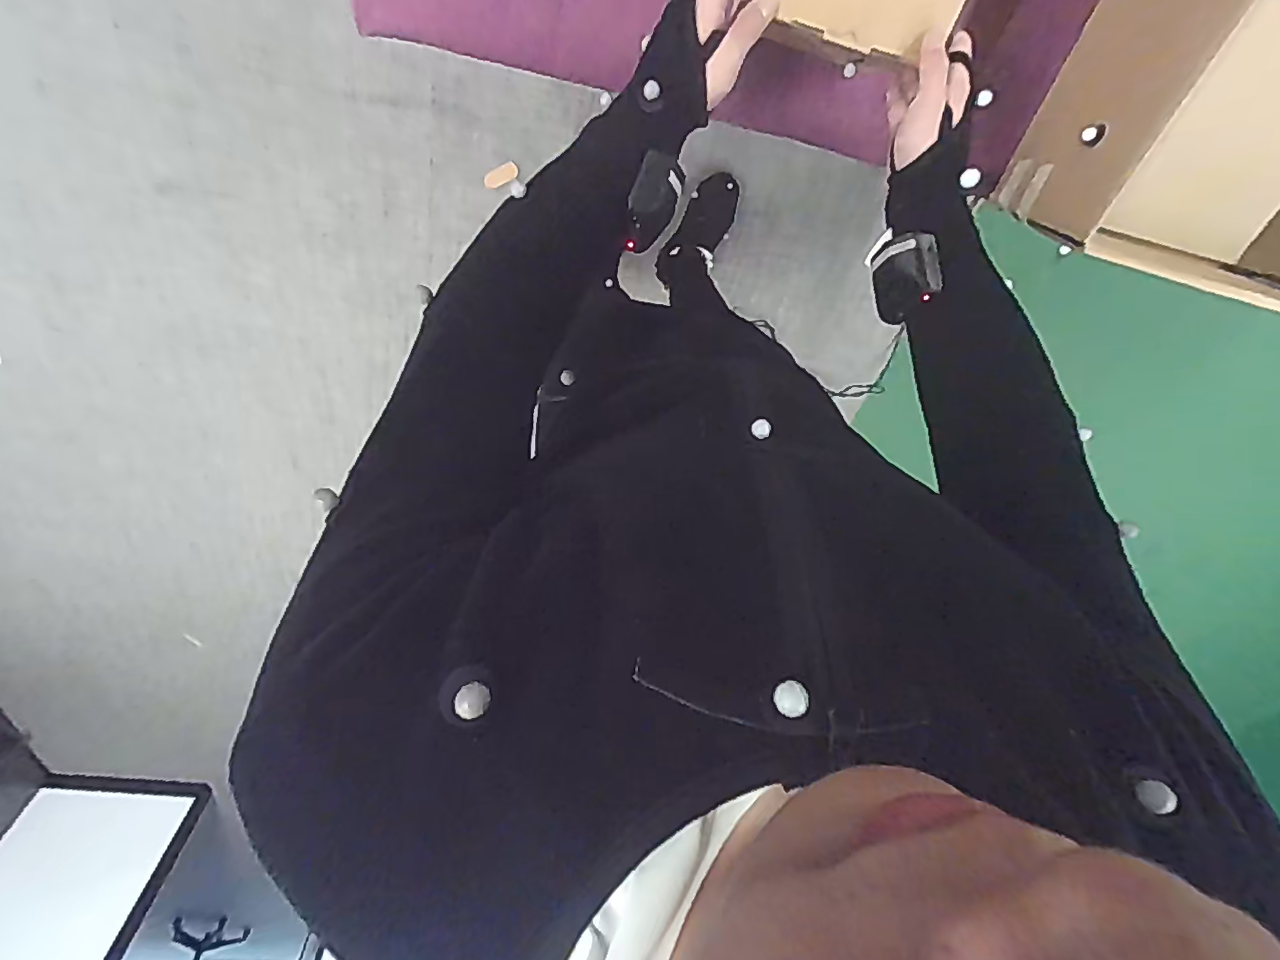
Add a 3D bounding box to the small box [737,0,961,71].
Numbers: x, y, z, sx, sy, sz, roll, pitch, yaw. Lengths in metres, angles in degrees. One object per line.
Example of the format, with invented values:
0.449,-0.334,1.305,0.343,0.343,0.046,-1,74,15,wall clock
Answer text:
0.193,-0.485,0.470,0.168,0.176,0.179,11,126,-9,small box
